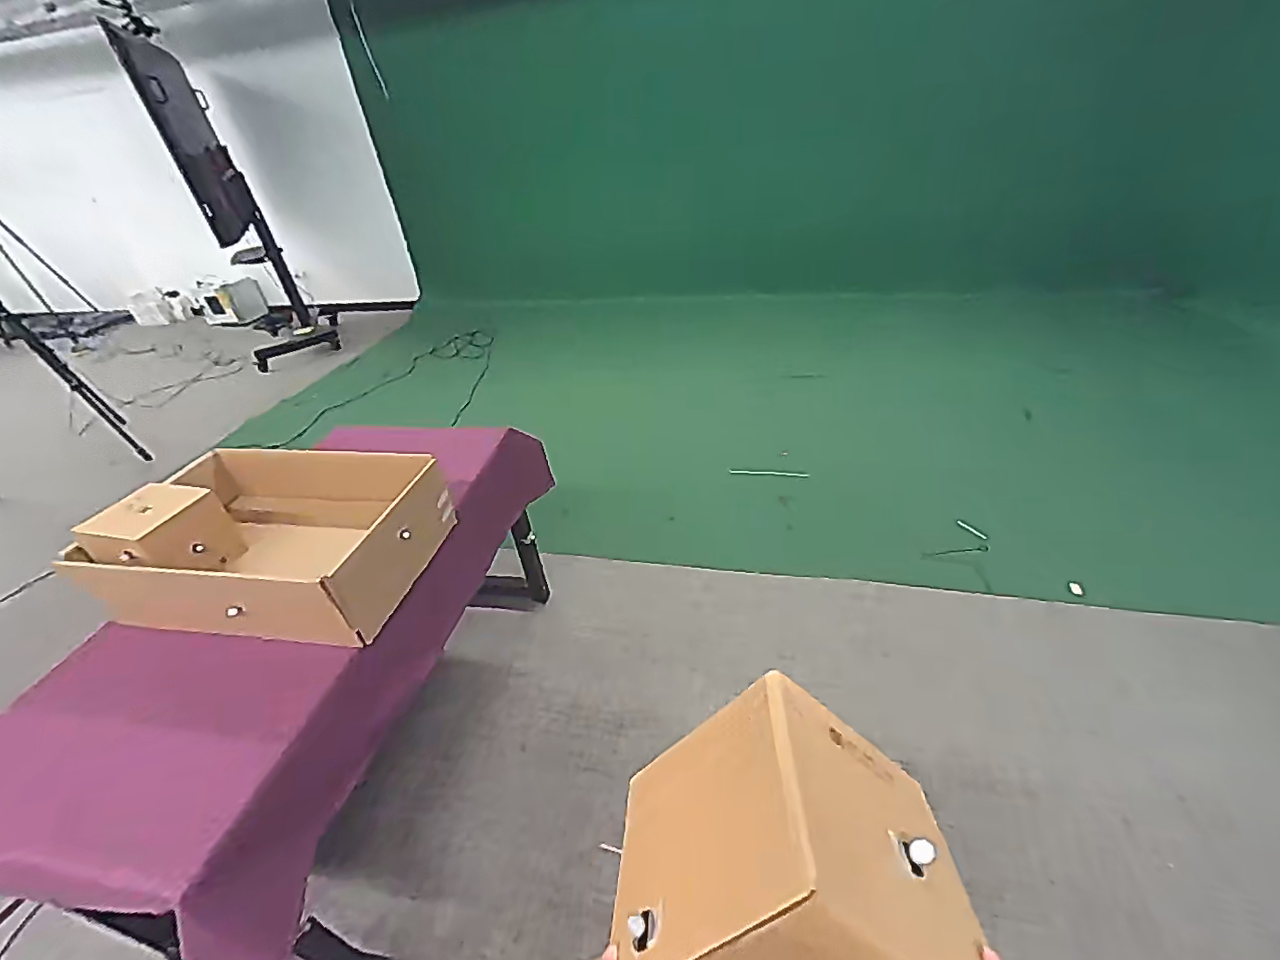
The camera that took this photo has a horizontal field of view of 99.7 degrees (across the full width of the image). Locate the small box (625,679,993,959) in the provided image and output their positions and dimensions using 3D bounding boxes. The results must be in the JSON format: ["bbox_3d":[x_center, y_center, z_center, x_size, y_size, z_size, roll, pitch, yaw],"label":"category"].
[{"bbox_3d":[0.106,0.284,0.390,0.168,0.179,0.176,39,22,-8],"label":"small box"}]
